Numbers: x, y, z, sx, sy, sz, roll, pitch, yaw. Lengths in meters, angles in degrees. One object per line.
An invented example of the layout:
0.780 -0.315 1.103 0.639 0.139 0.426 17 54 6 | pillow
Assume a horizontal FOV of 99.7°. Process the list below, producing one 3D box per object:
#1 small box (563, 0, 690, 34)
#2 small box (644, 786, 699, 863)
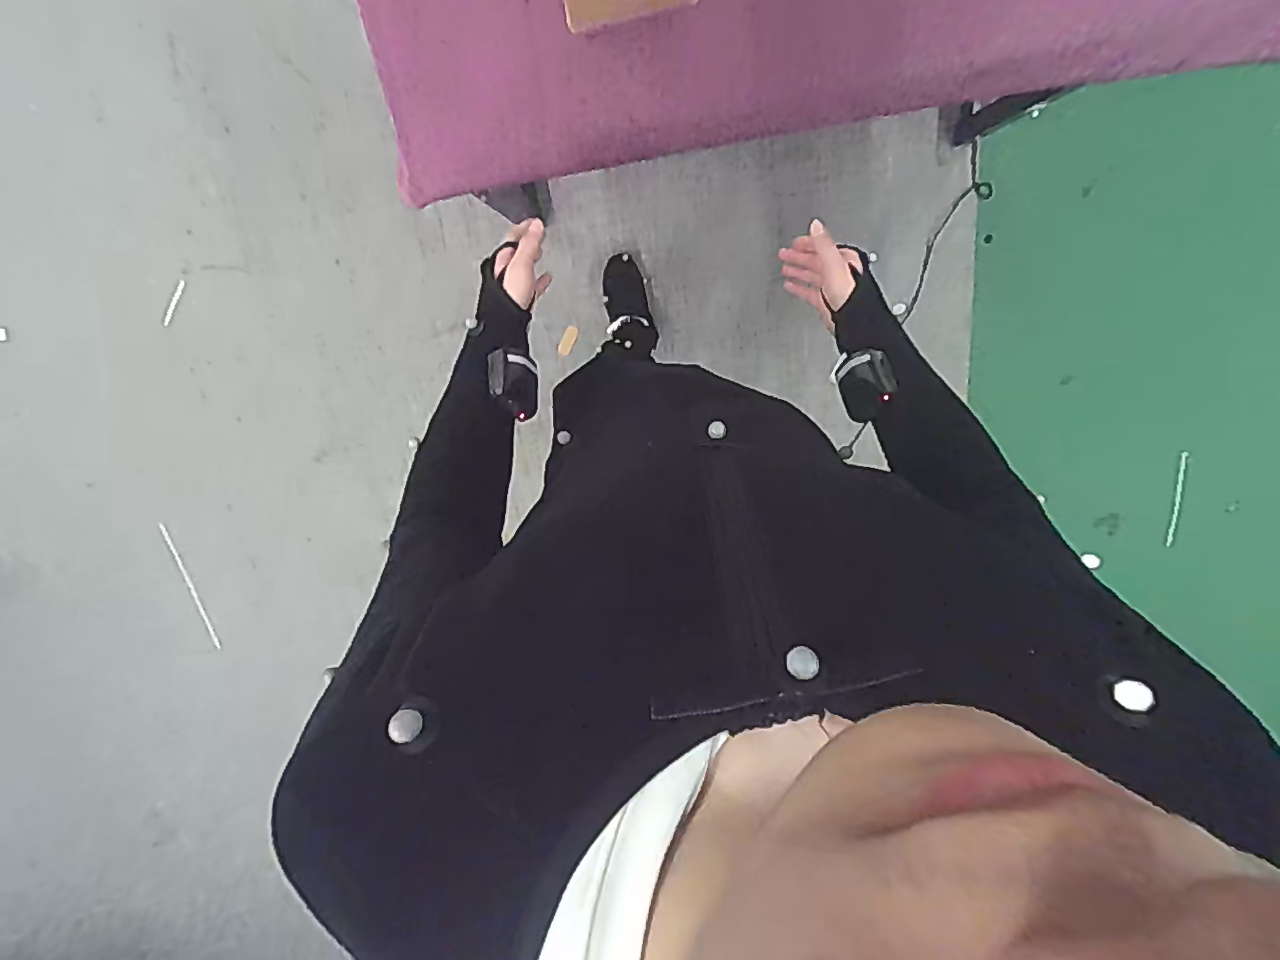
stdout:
-0.020 -0.655 0.614 0.179 0.176 0.168 -11 107 4 | small box
0.111 1.228 1.938 0.179 0.176 0.168 -7 107 1 | small box
